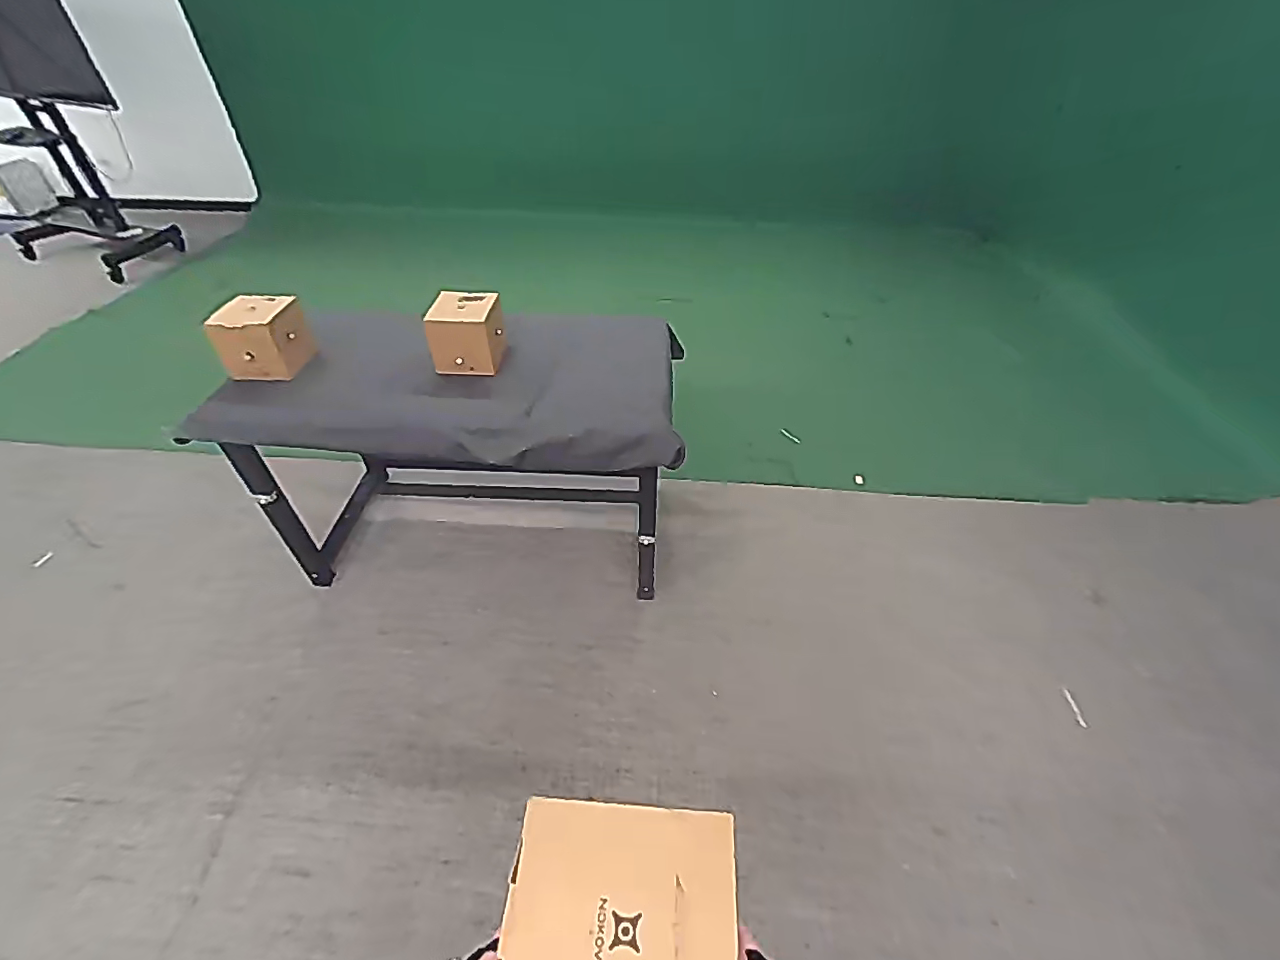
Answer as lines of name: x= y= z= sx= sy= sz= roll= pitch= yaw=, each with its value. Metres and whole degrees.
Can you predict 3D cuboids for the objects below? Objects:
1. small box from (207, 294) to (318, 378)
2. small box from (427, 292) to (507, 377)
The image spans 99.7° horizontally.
small box: x=-1.033 y=-0.397 z=1.502 sx=0.168 sy=0.176 sz=0.179 roll=1 pitch=44 yaw=-1
small box: x=-0.483 y=-0.414 z=1.541 sx=0.168 sy=0.176 sz=0.179 roll=2 pitch=45 yaw=1
